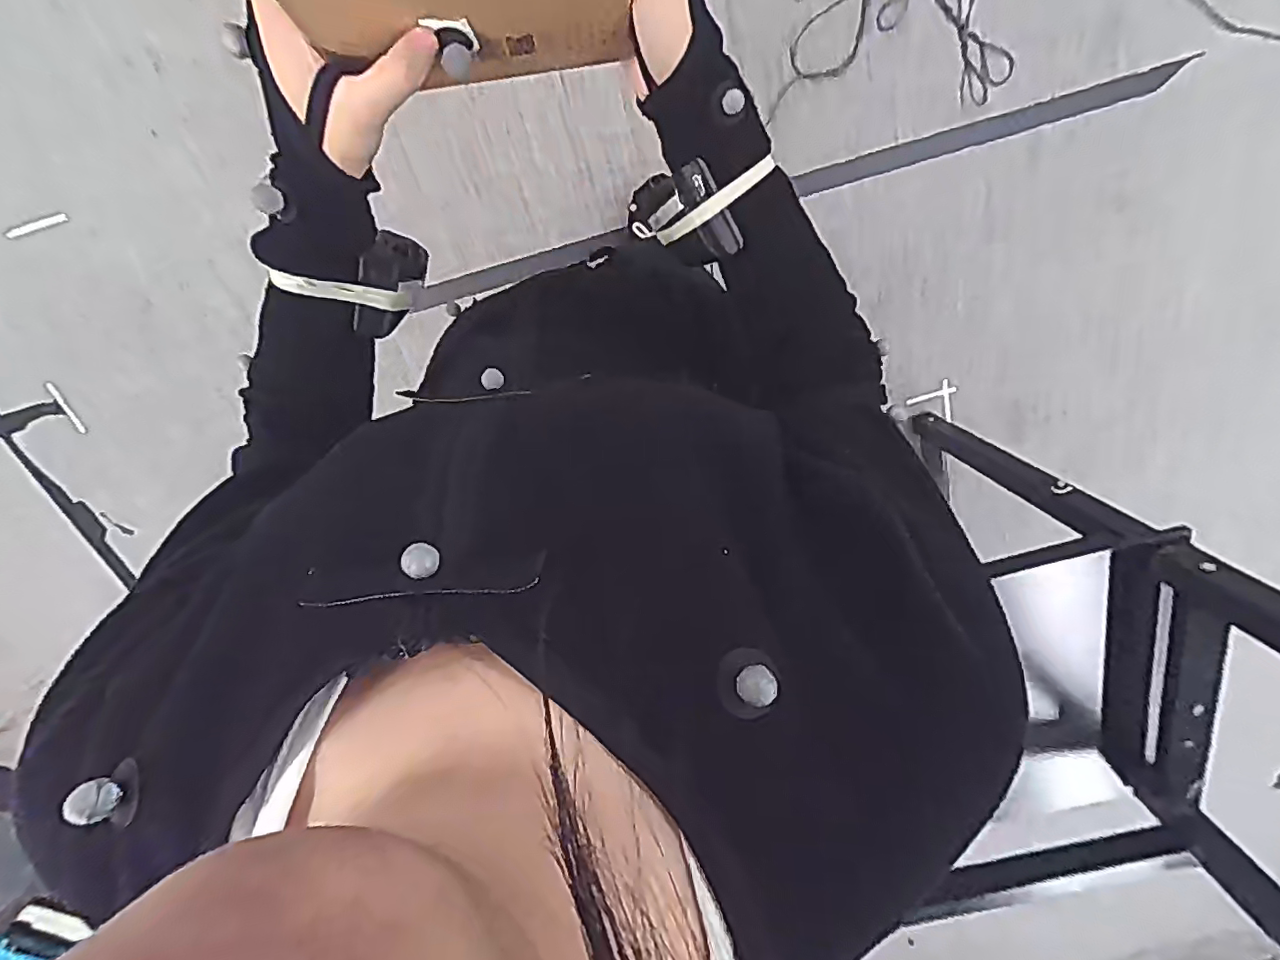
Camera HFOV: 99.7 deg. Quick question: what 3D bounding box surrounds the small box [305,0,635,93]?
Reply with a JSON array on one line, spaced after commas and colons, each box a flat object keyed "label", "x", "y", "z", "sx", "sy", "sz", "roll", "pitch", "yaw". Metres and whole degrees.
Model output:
[{"label": "small box", "x": -0.093, "y": -0.313, "z": 0.228, "sx": 0.168, "sy": 0.176, "sz": 0.179, "roll": -9, "pitch": 96, "yaw": -1}]
